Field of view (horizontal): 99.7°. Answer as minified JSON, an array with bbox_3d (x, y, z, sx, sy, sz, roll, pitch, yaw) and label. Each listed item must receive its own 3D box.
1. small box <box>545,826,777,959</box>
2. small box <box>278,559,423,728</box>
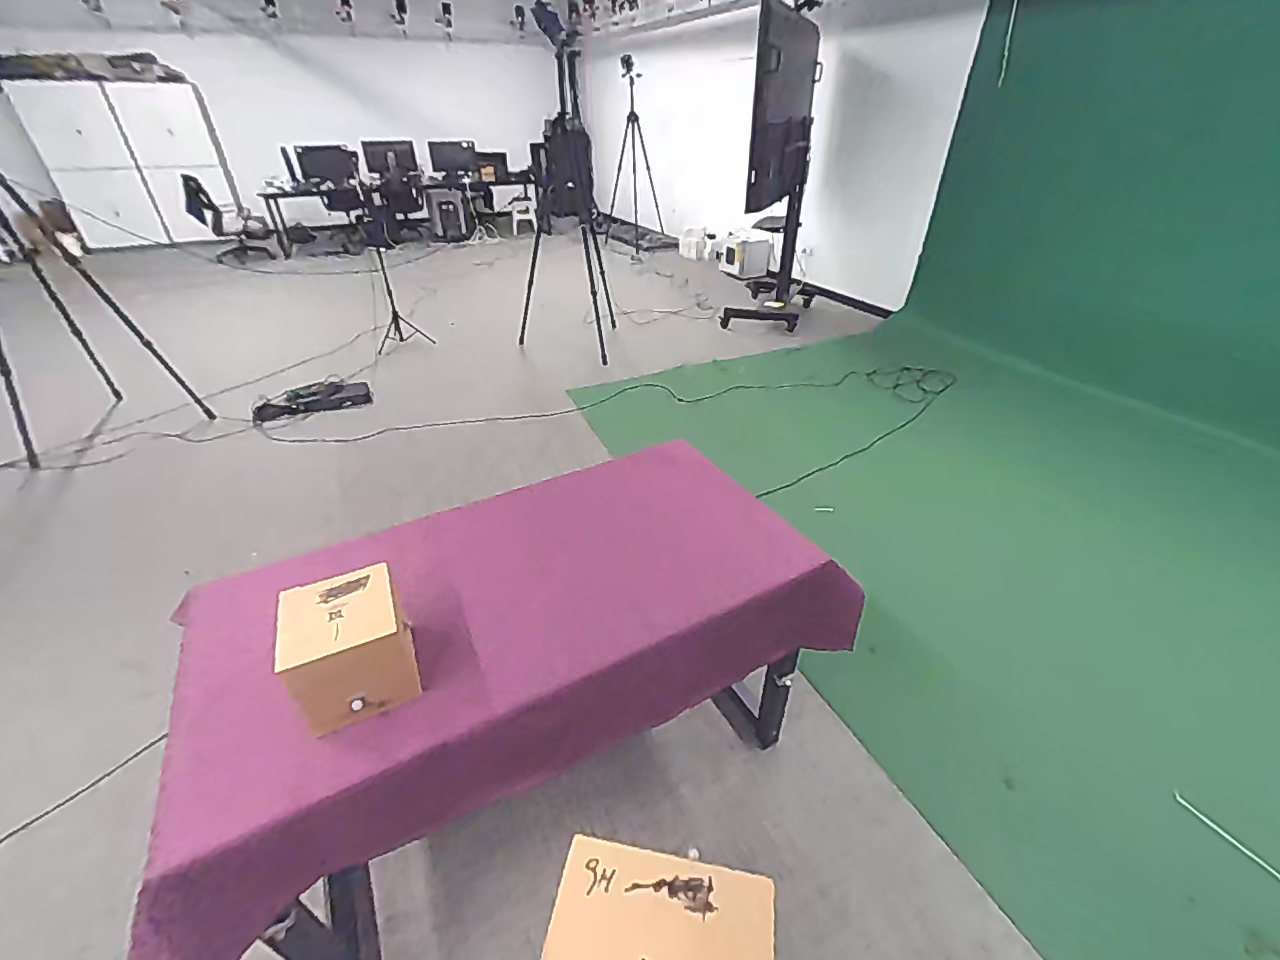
[{"bbox_3d":[0.014,0.415,0.430,0.168,0.176,0.179,6,42,10],"label":"small box"},{"bbox_3d":[-0.472,0.267,0.895,0.168,0.176,0.179,-16,39,-21],"label":"small box"}]
